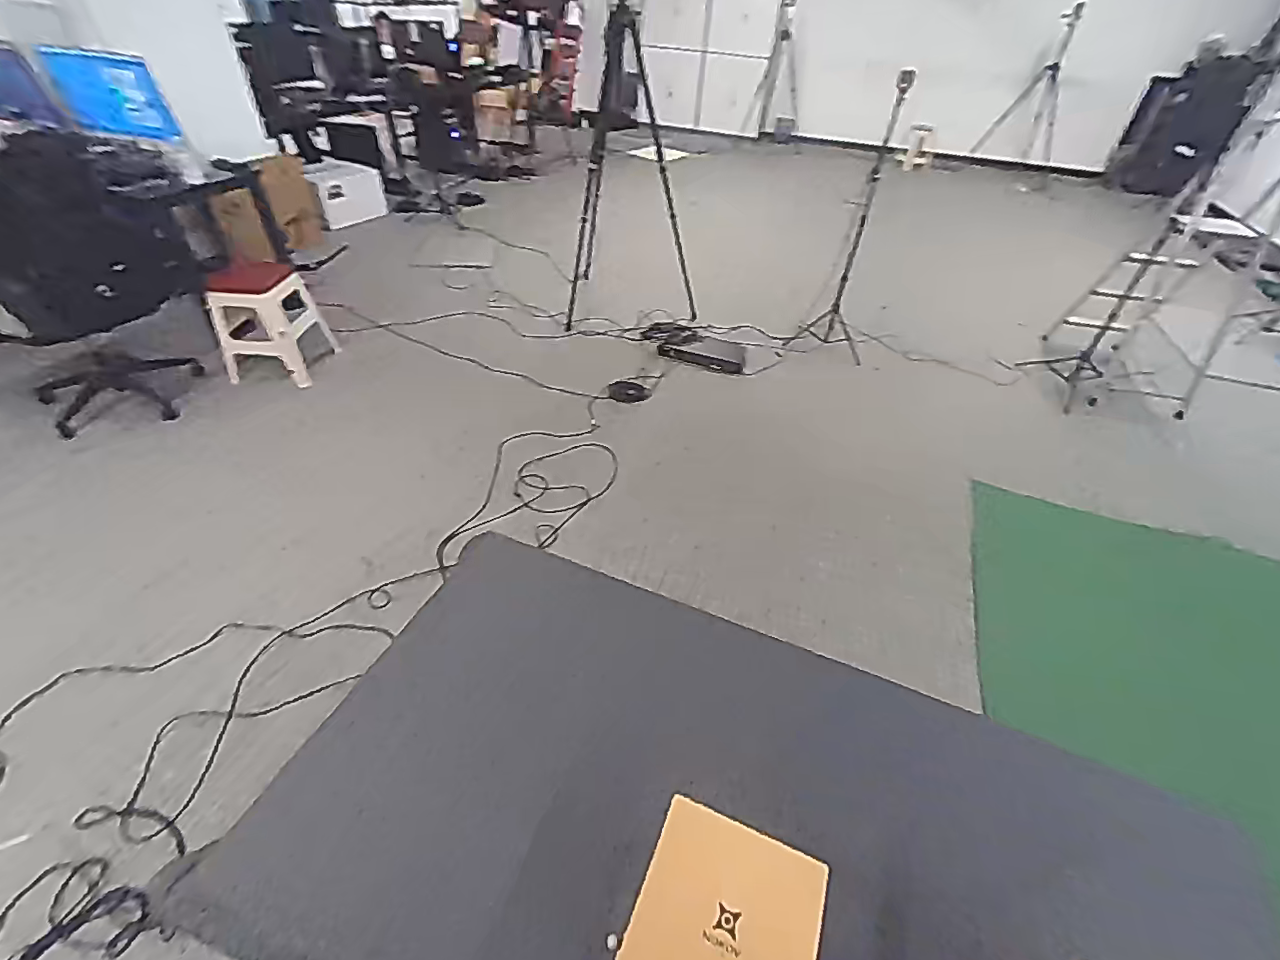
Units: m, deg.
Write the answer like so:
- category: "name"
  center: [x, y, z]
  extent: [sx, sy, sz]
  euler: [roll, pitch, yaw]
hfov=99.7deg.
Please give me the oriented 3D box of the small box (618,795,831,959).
- category: "small box"
  center: [0.074, 0.467, 0.543]
  extent: [0.168, 0.176, 0.179]
  euler: [19, 44, 14]
